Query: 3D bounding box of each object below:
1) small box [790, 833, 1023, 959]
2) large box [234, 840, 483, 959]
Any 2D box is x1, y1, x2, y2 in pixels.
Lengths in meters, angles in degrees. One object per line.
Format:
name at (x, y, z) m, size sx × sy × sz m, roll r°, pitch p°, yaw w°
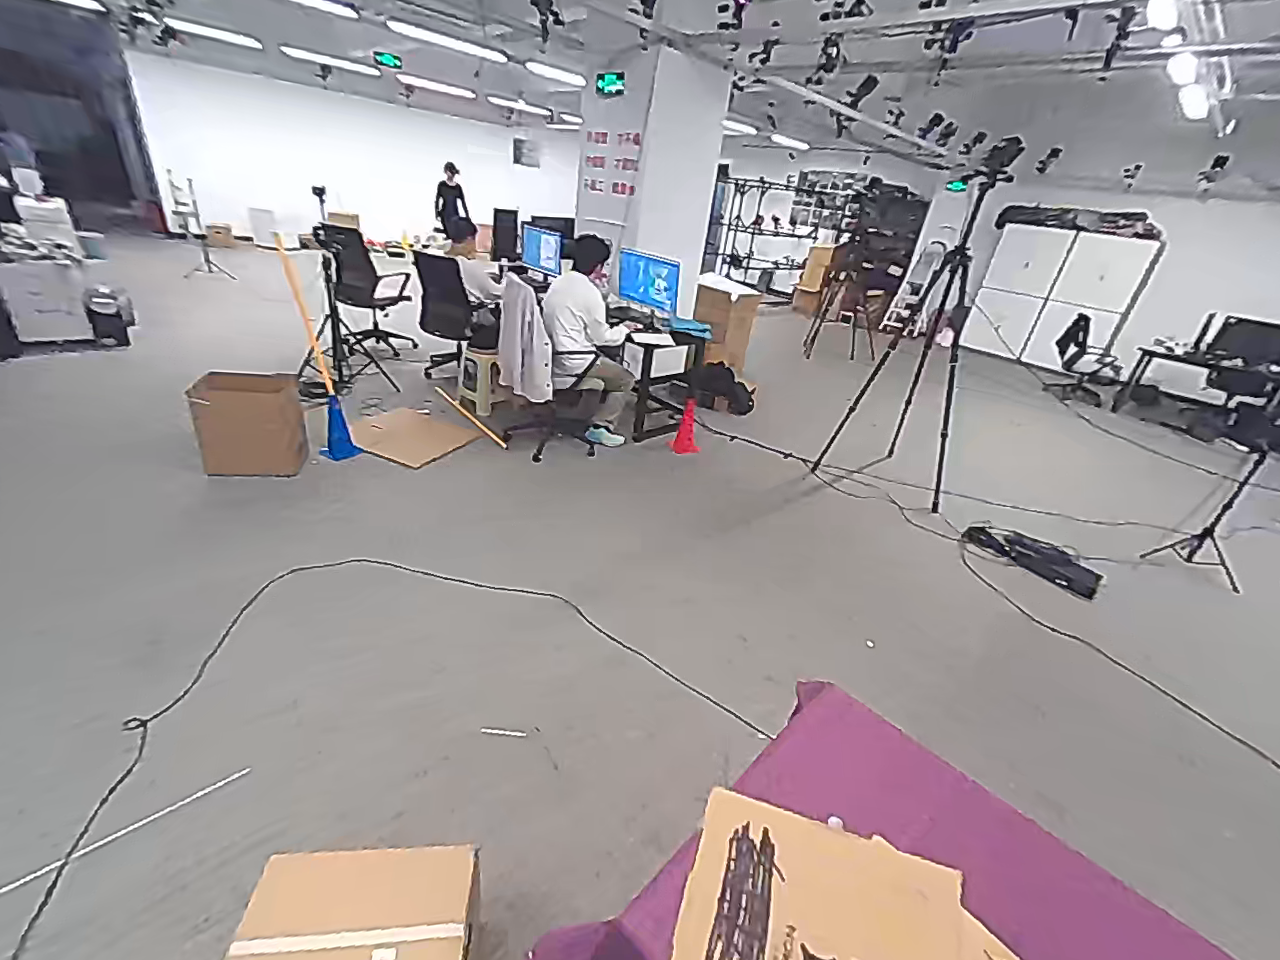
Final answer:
small box at (0.283, 0.564, 0.609) m, size 0.168 × 0.176 × 0.179 m, roll -18°, pitch 36°, yaw -38°
large box at (-0.536, 0.965, 1.061) m, size 0.408 × 0.320 × 0.320 m, roll 4°, pitch 29°, yaw -10°
